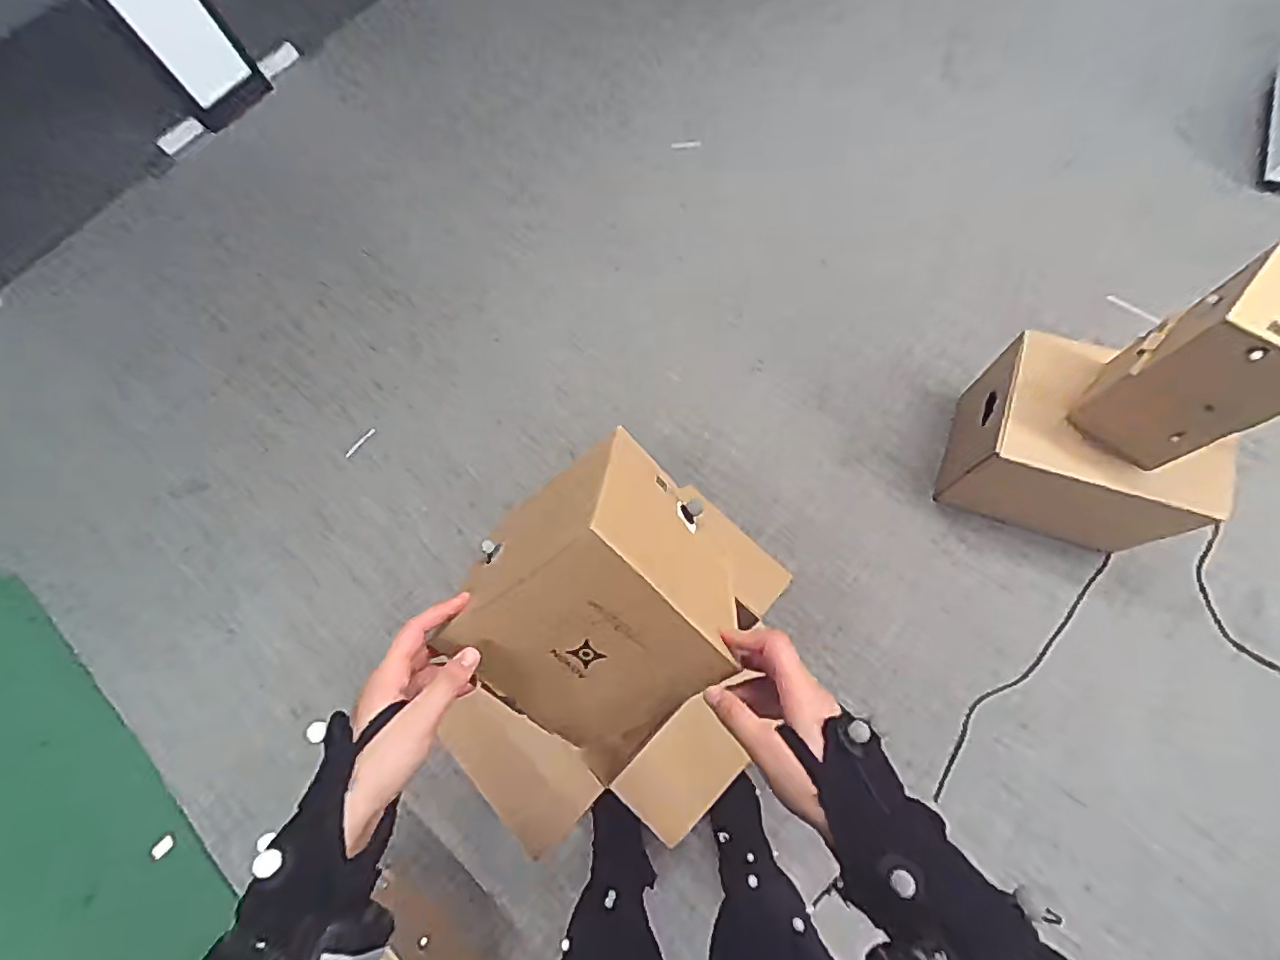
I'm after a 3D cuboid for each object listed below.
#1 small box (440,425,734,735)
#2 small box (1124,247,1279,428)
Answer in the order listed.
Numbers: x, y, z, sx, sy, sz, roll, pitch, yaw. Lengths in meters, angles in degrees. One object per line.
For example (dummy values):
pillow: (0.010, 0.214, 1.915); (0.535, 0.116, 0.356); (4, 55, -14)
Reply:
small box: (-0.036, 0.084, 0.487); (0.179, 0.176, 0.168); (-37, 111, 21)
small box: (0.933, -0.216, 0.852); (0.168, 0.176, 0.179); (40, 77, 17)
